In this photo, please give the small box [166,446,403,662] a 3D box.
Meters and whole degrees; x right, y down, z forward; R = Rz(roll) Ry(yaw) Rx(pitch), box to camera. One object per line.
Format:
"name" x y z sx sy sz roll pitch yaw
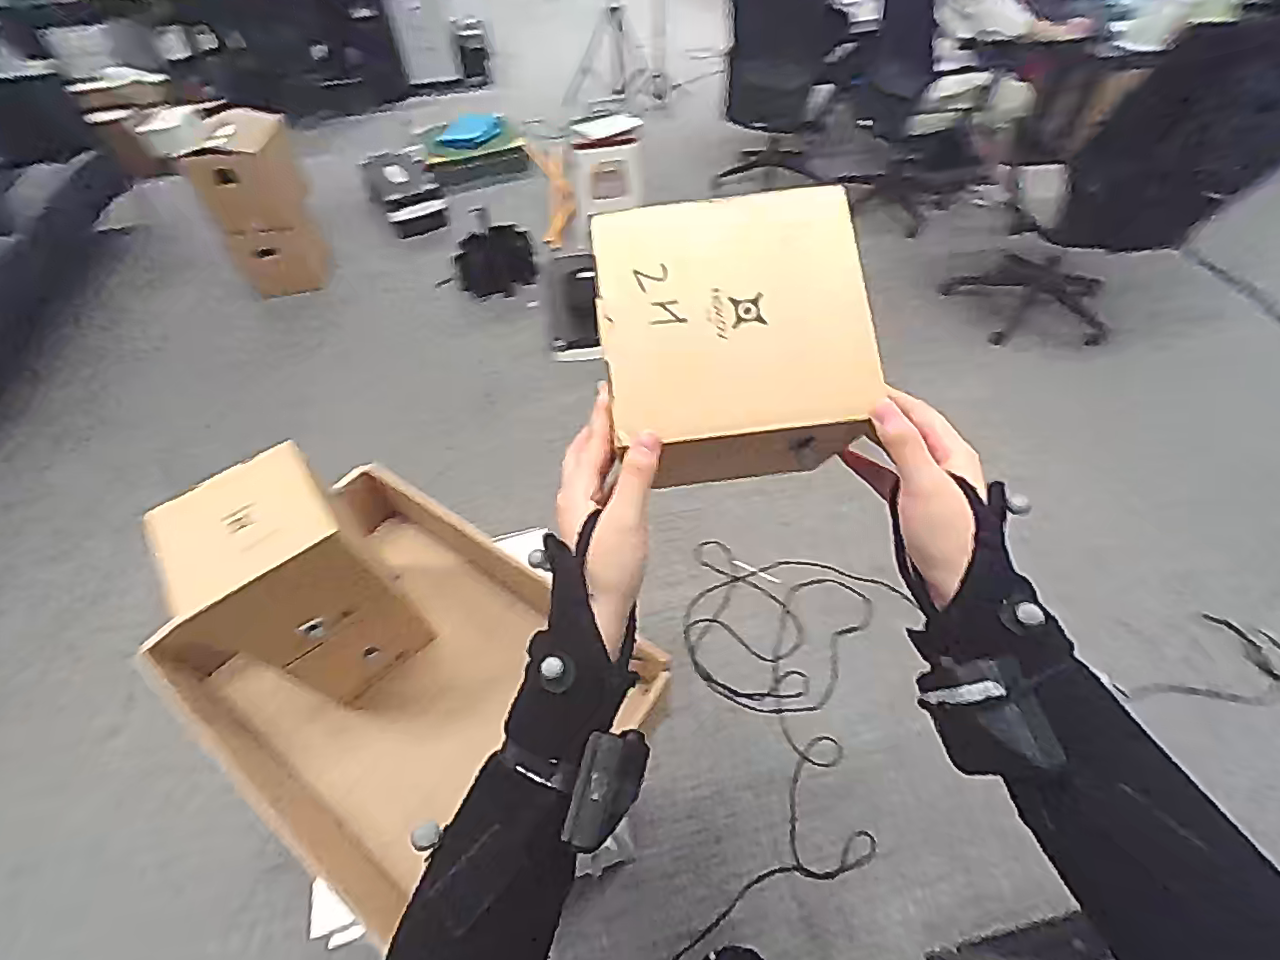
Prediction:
"small box" -0.437 0.096 0.684 0.168 0.176 0.179 -35 59 -19
